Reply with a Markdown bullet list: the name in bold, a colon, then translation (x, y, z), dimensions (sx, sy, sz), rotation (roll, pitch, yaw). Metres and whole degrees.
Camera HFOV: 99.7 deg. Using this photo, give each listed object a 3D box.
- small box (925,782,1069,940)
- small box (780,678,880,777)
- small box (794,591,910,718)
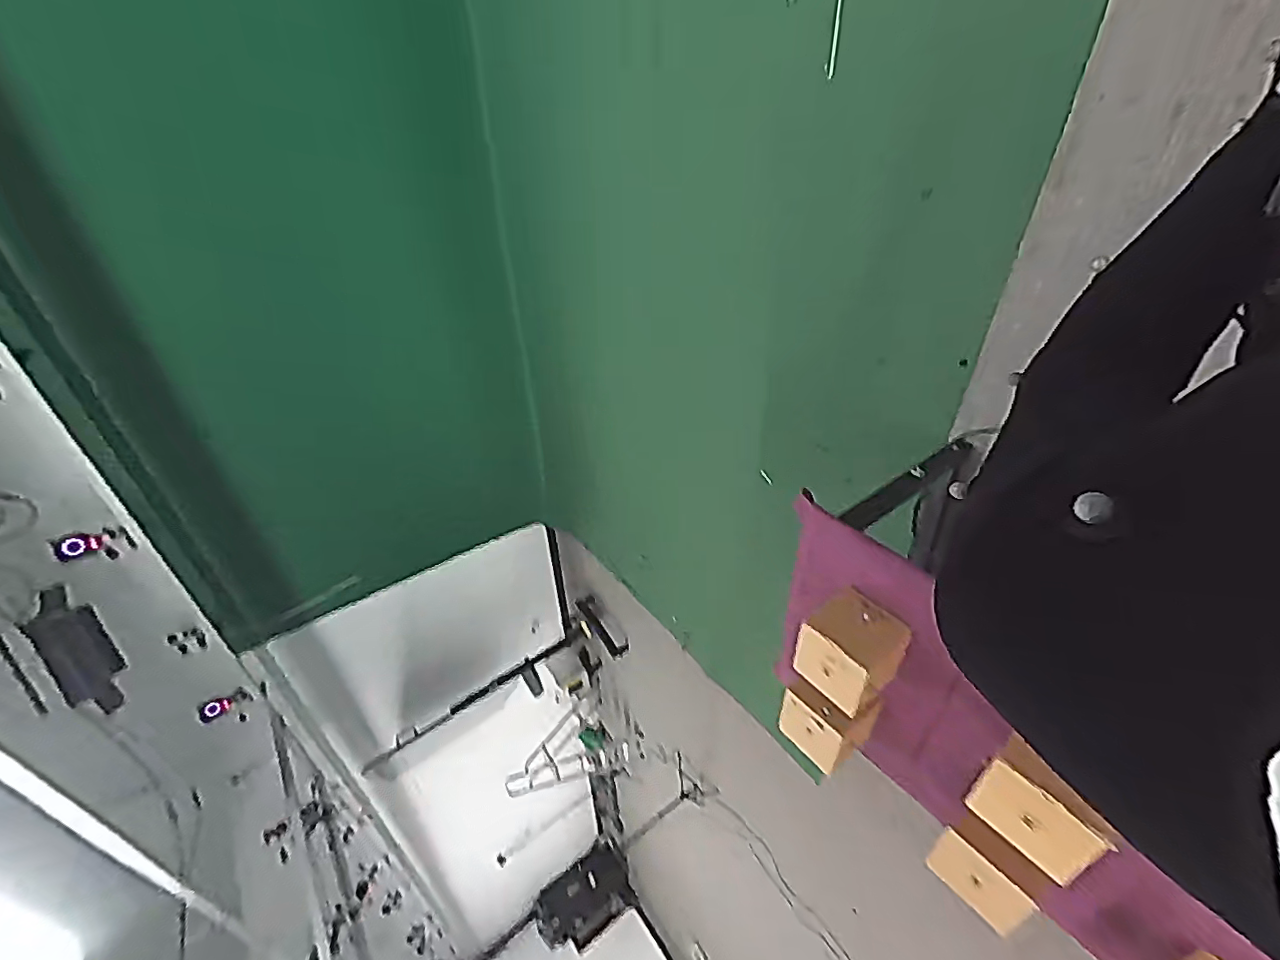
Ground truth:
- **small box**: translation (0.726, 0.769, 1.103), dimensions (0.168, 0.176, 0.179), rotation (36, 139, 41)
- **small box**: translation (0.483, 0.603, 1.378), dimensions (0.168, 0.176, 0.179), rotation (35, 139, 42)
- **small box**: translation (0.478, 0.390, 1.225), dimensions (0.168, 0.176, 0.179), rotation (37, 141, 40)
